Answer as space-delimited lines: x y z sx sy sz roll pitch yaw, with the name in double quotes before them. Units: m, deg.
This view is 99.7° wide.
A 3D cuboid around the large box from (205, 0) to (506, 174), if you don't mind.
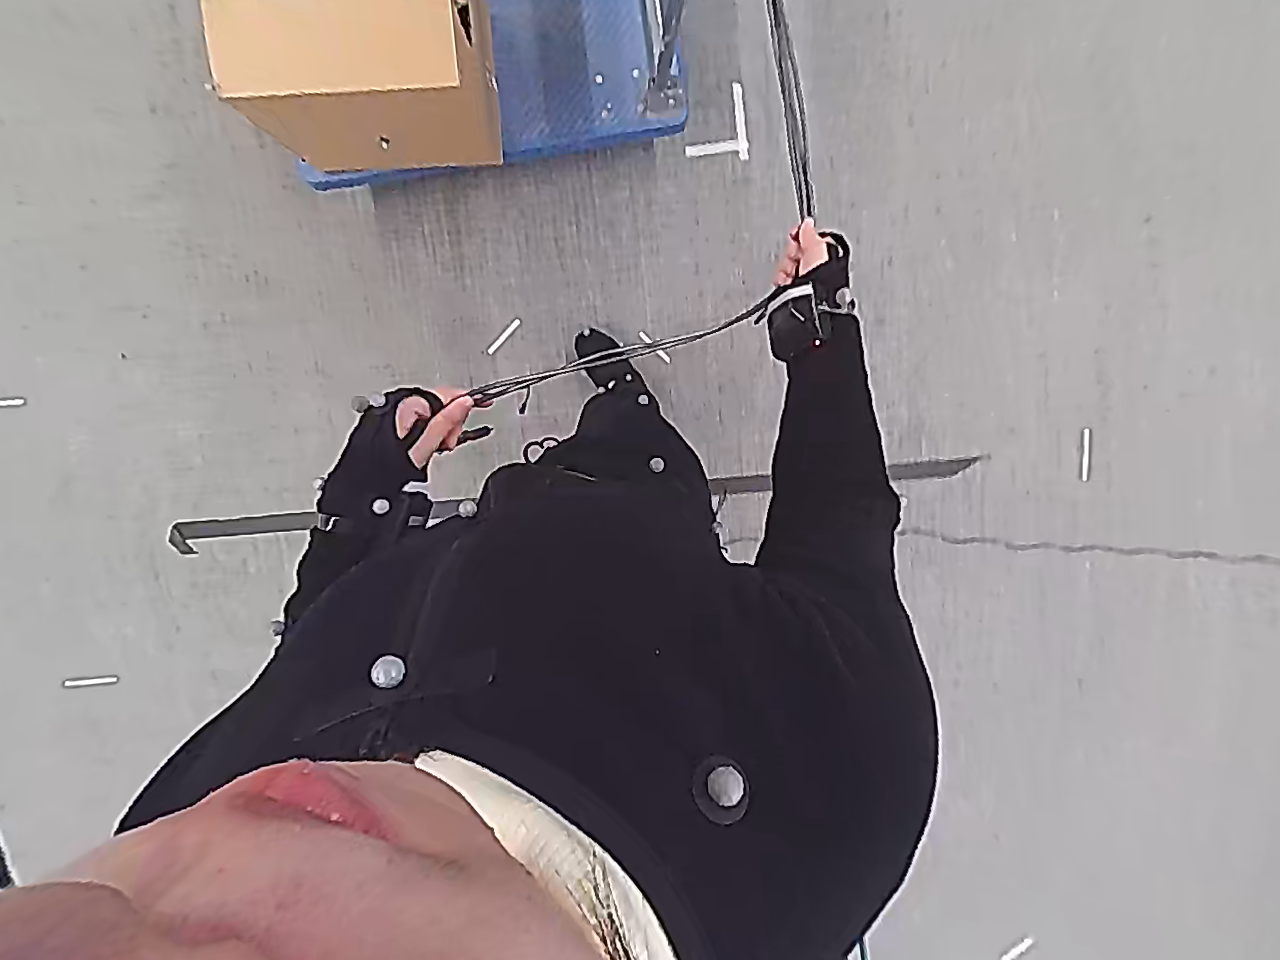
"large box" -0.497 -0.802 1.009 0.408 0.320 0.320 -3 98 0
